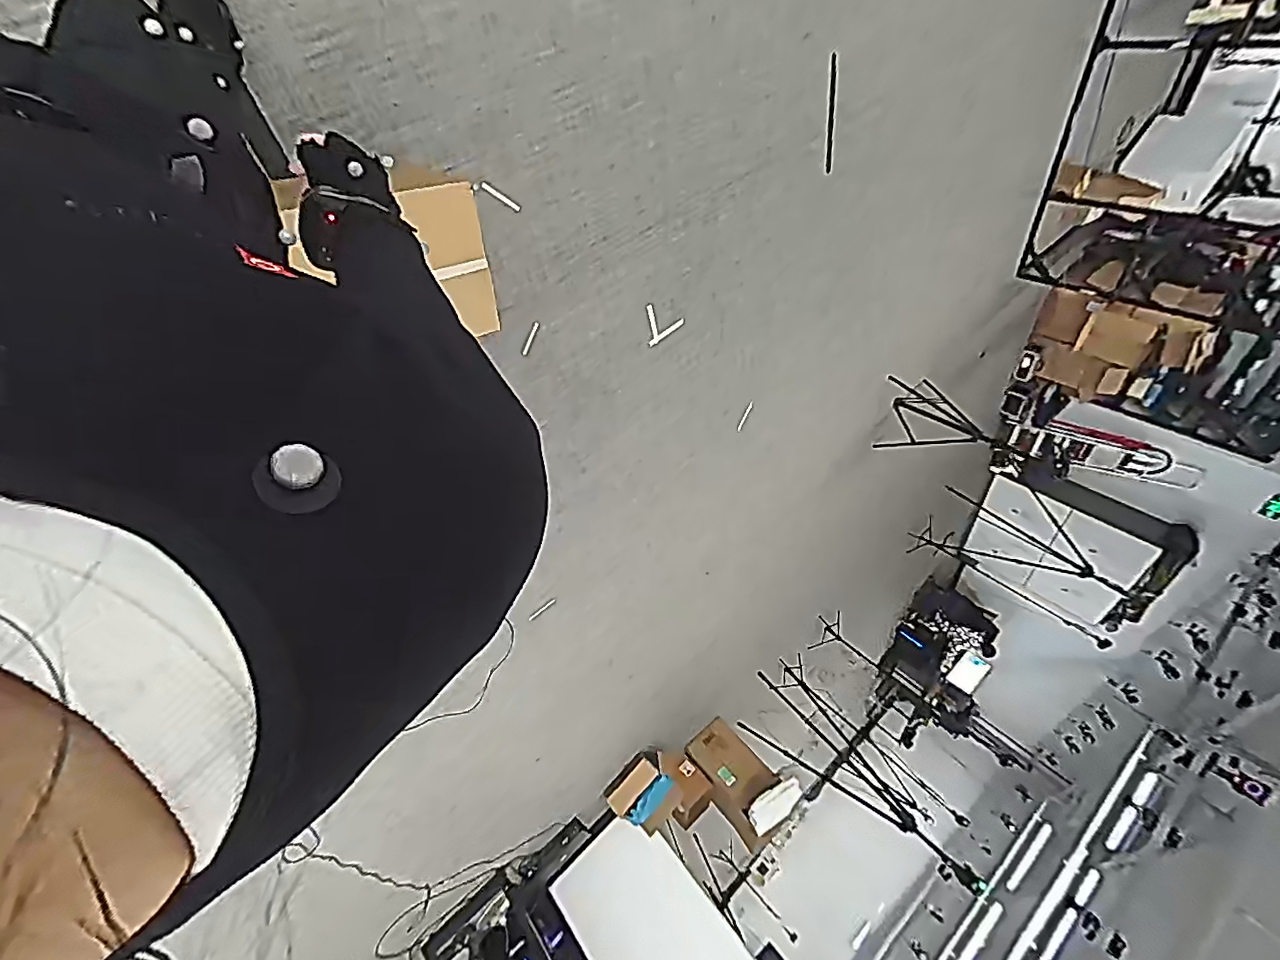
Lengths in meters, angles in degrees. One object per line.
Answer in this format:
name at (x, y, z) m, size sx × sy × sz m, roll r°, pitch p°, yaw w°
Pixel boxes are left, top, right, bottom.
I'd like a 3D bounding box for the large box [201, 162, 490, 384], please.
large box at (-0.595, -0.455, 1.138) m, size 0.408 × 0.320 × 0.320 m, roll -30°, pitch 138°, yaw -30°
